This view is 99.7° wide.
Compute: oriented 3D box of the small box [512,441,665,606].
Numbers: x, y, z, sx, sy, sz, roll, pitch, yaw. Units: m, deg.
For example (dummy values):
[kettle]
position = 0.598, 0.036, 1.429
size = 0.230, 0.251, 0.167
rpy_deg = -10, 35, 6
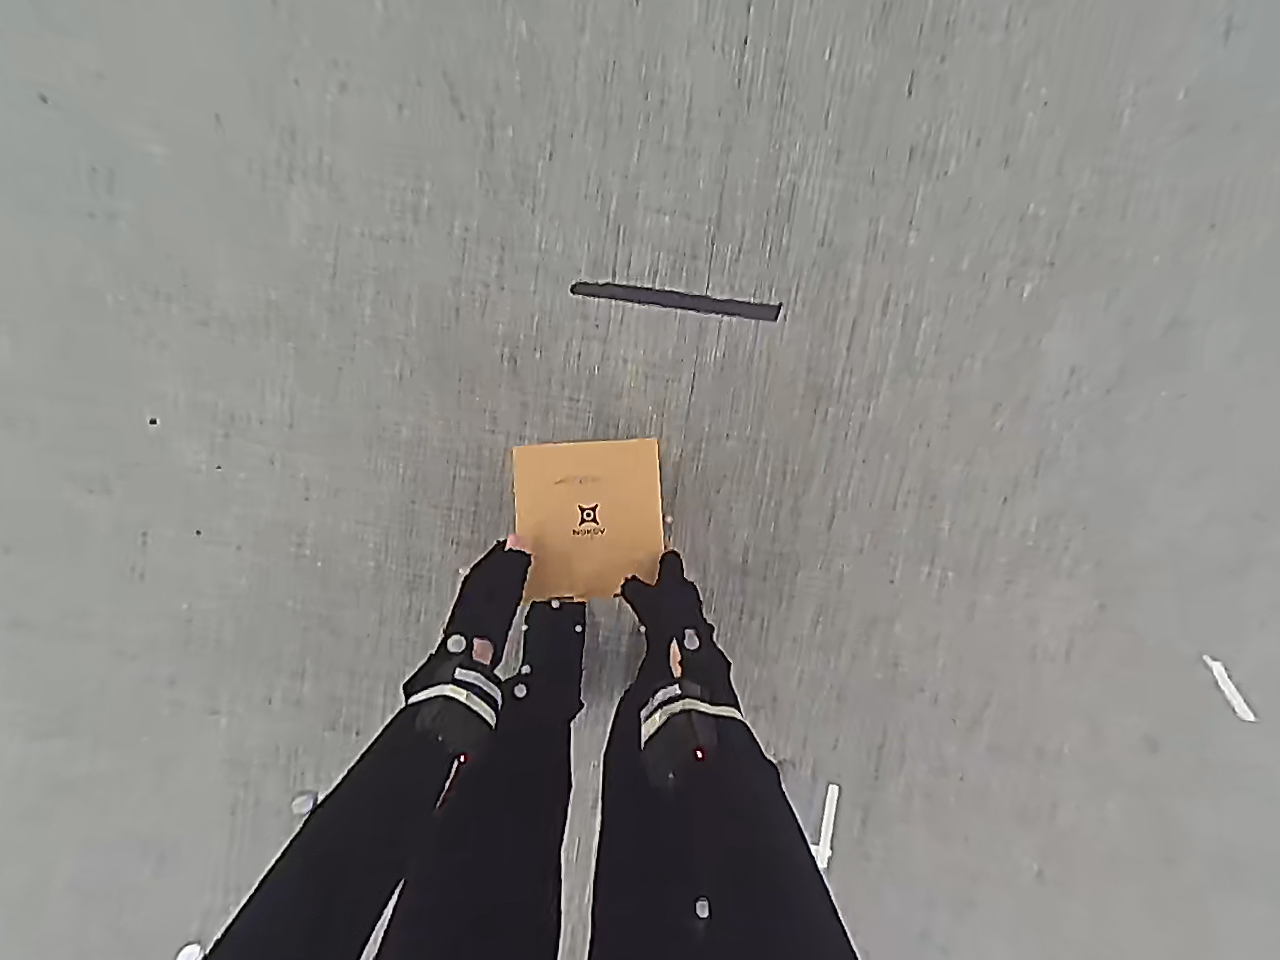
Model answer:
[small box]
position = -0.058, 0.055, 0.672
size = 0.168, 0.176, 0.179
rpy_deg = -4, 82, -2
